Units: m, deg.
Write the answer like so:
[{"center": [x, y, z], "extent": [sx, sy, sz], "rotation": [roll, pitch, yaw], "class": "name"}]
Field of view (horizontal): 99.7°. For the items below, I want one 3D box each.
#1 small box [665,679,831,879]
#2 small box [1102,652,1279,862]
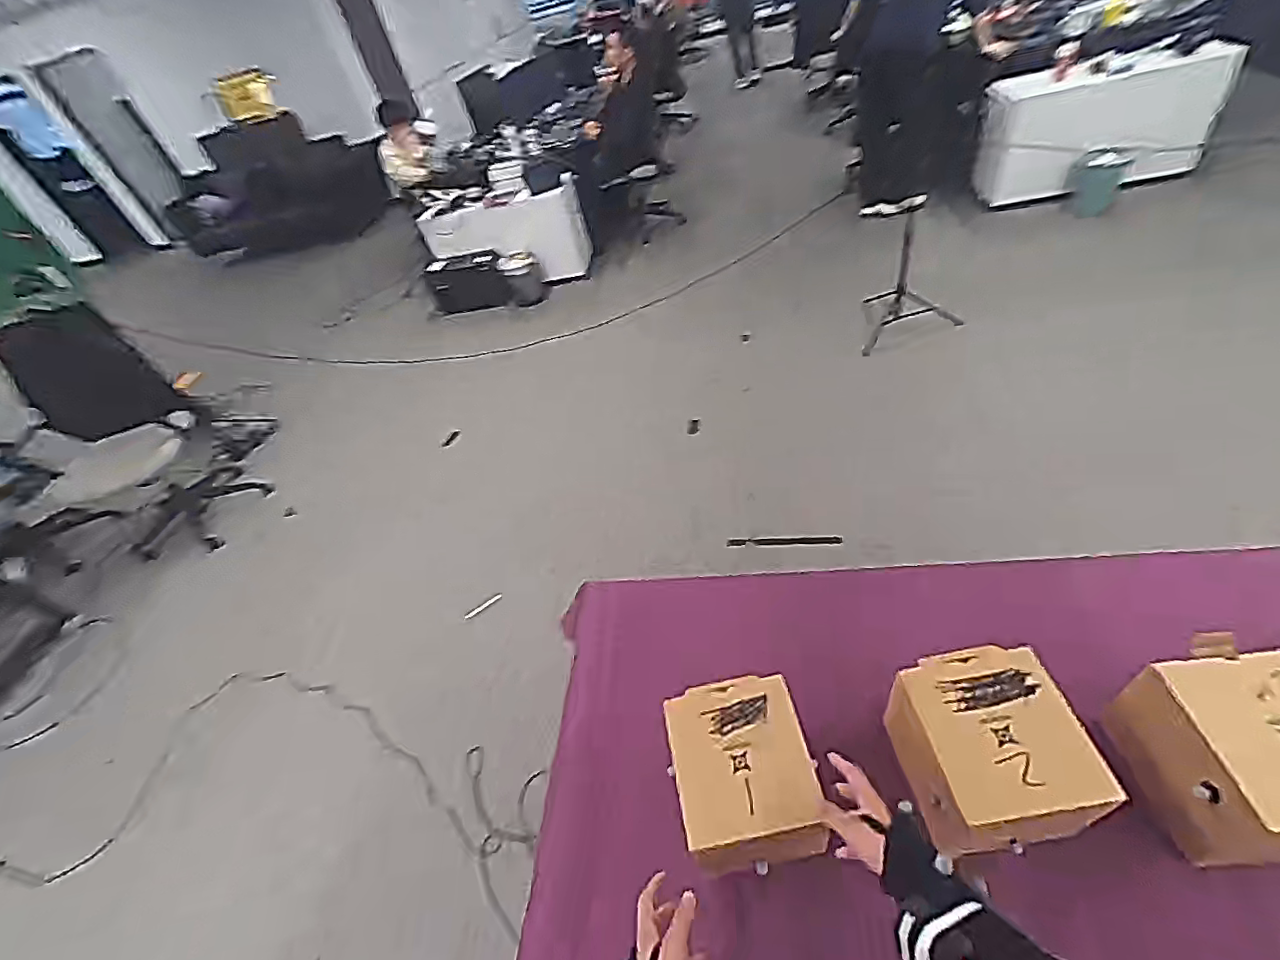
[{"center": [0.138, 0.398, 0.719], "extent": [0.168, 0.176, 0.179], "rotation": [-15, 45, 2], "class": "small box"}, {"center": [0.699, 0.324, 0.625], "extent": [0.168, 0.176, 0.179], "rotation": [-9, 44, 8], "class": "small box"}]
